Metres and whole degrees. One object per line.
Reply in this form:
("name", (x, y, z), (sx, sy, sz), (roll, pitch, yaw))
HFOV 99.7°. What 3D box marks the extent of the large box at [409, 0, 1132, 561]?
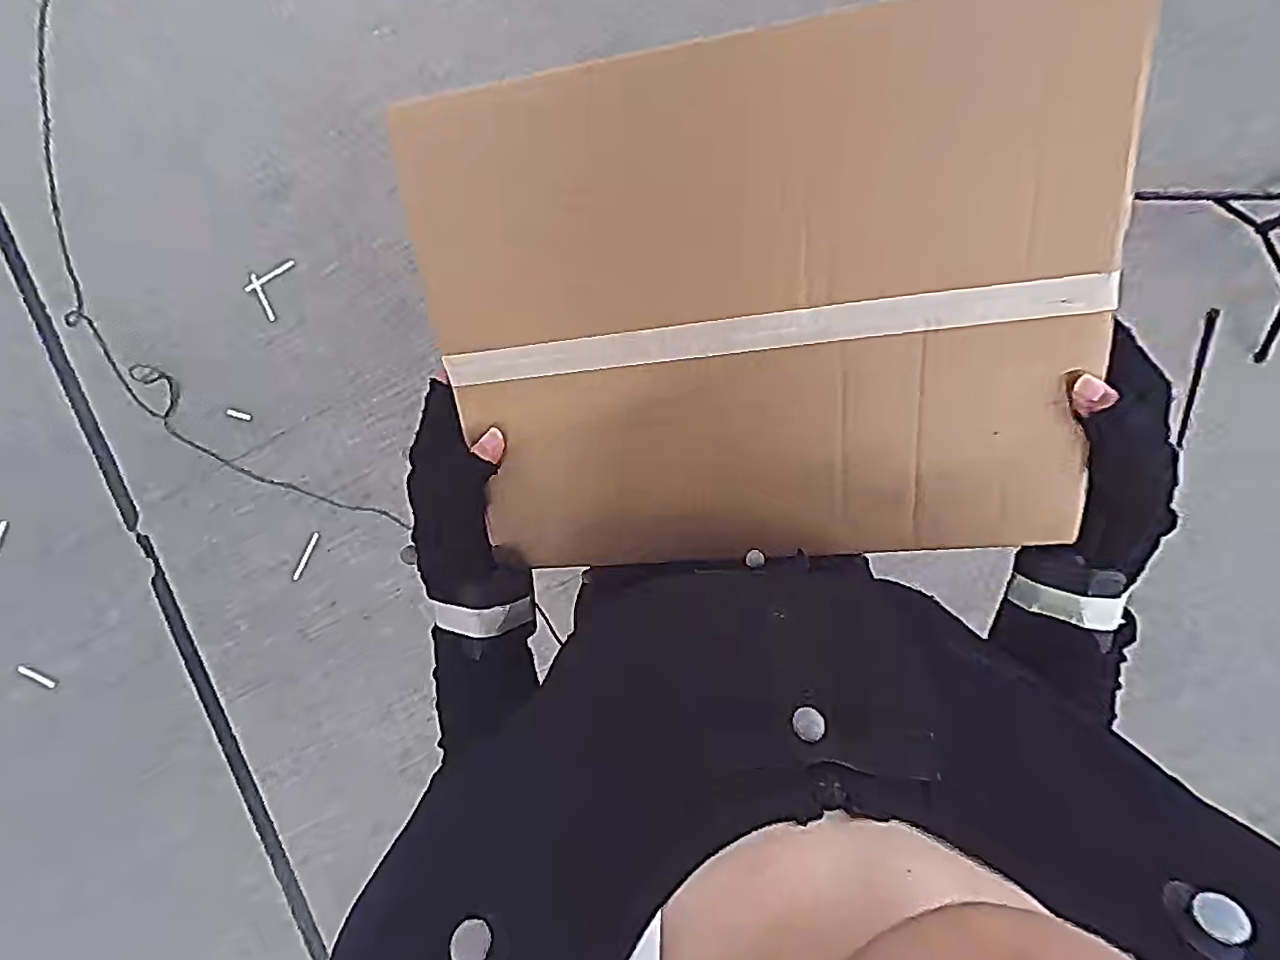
("large box", (0.087, -0.145, 0.486), (0.408, 0.320, 0.320), (-4, 110, 9))
